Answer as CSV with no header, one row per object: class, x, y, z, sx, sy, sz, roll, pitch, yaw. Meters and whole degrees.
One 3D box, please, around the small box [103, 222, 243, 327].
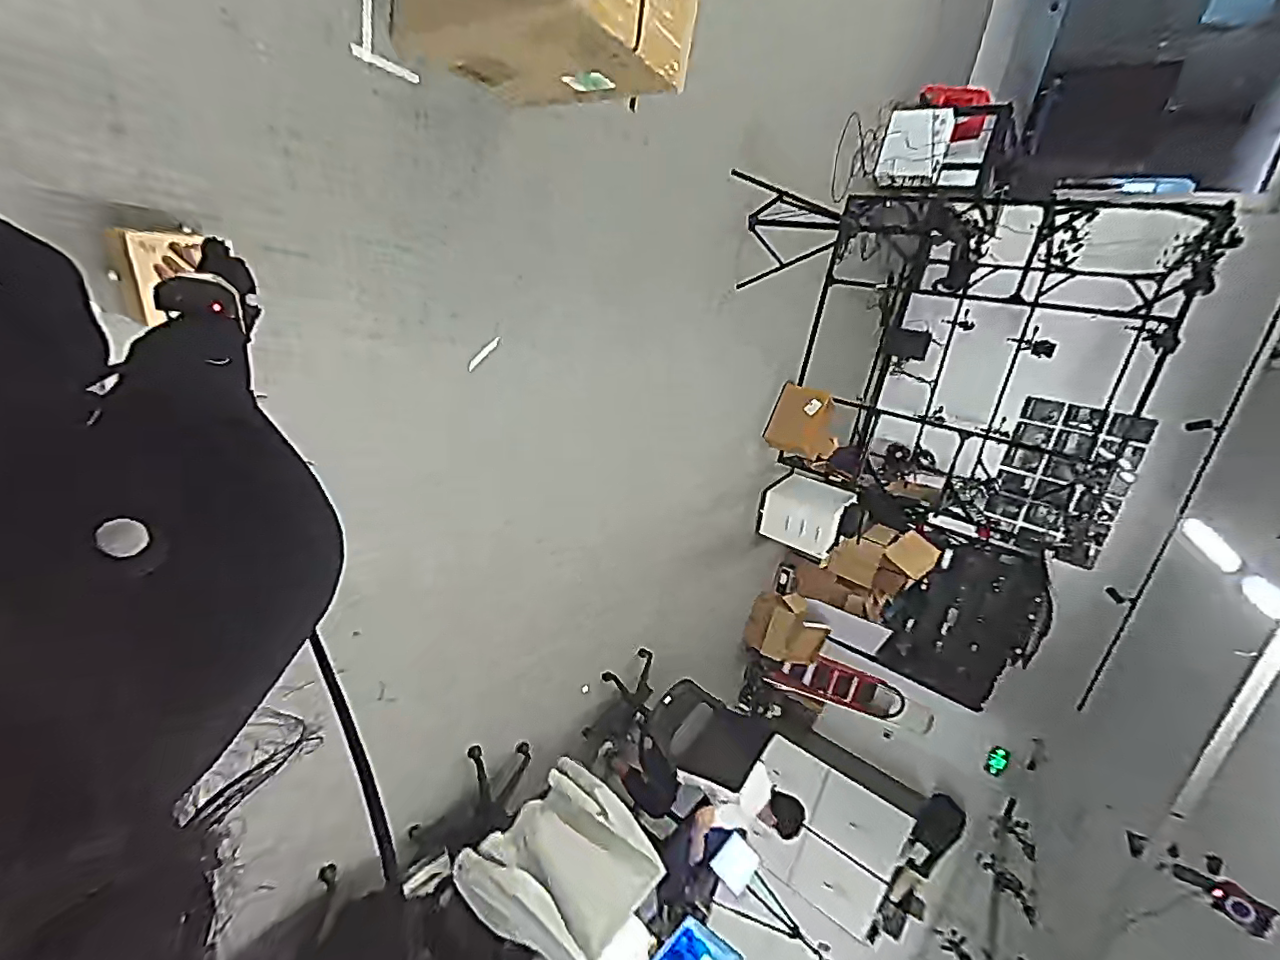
small box,-0.947,-0.416,1.100,0.168,0.176,0.179,-22,126,-49
